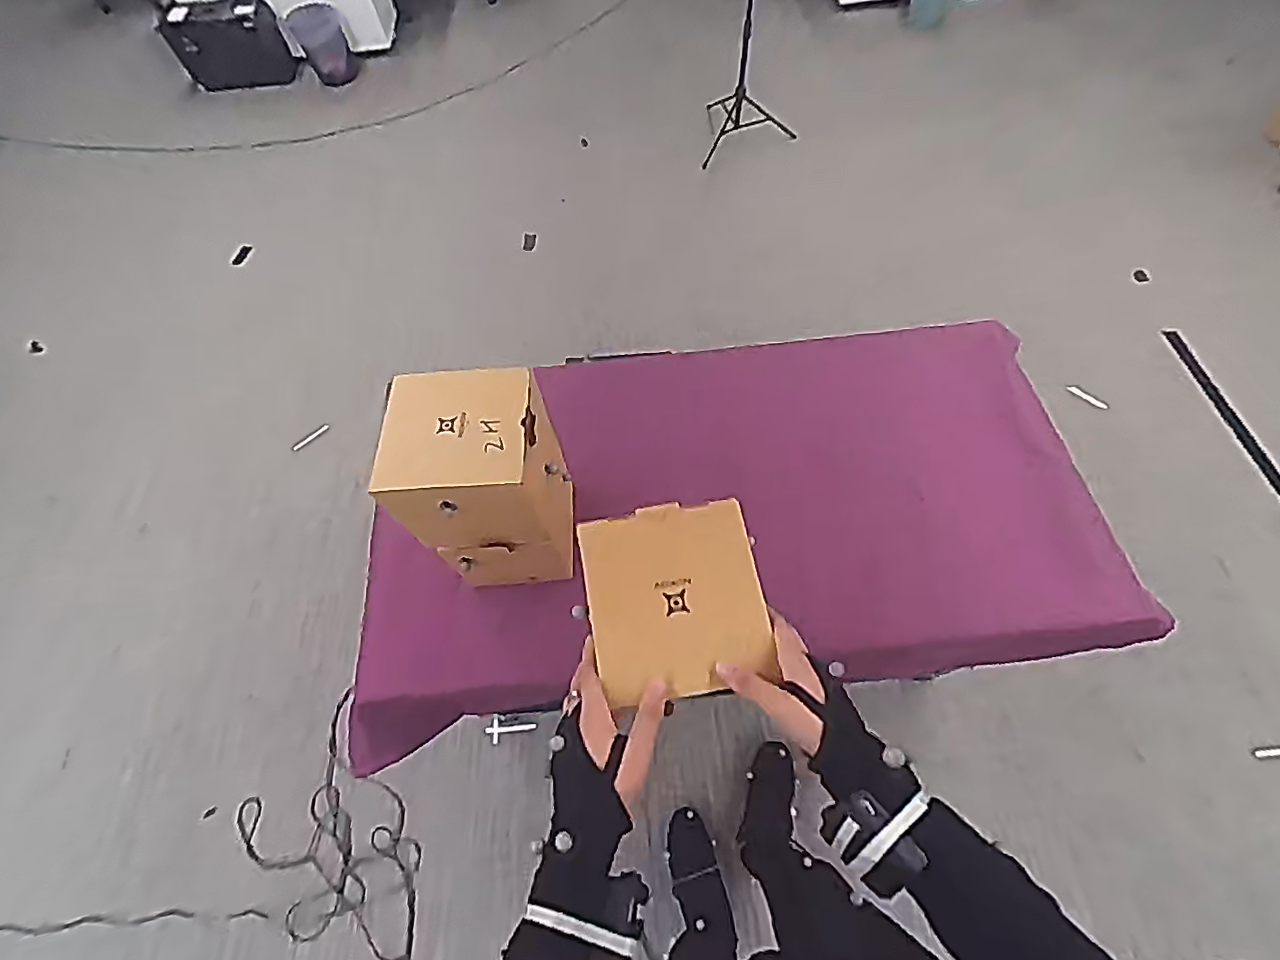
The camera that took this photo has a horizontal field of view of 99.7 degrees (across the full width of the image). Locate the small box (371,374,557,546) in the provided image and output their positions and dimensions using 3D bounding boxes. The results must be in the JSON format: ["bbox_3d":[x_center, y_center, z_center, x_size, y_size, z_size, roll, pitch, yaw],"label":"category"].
[{"bbox_3d":[-0.213,-0.019,0.708,0.179,0.176,0.168,-3,62,1],"label":"small box"}]

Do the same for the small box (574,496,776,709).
[{"bbox_3d":[0.028,0.138,0.583,0.168,0.176,0.179,-10,68,-6],"label":"small box"}]
